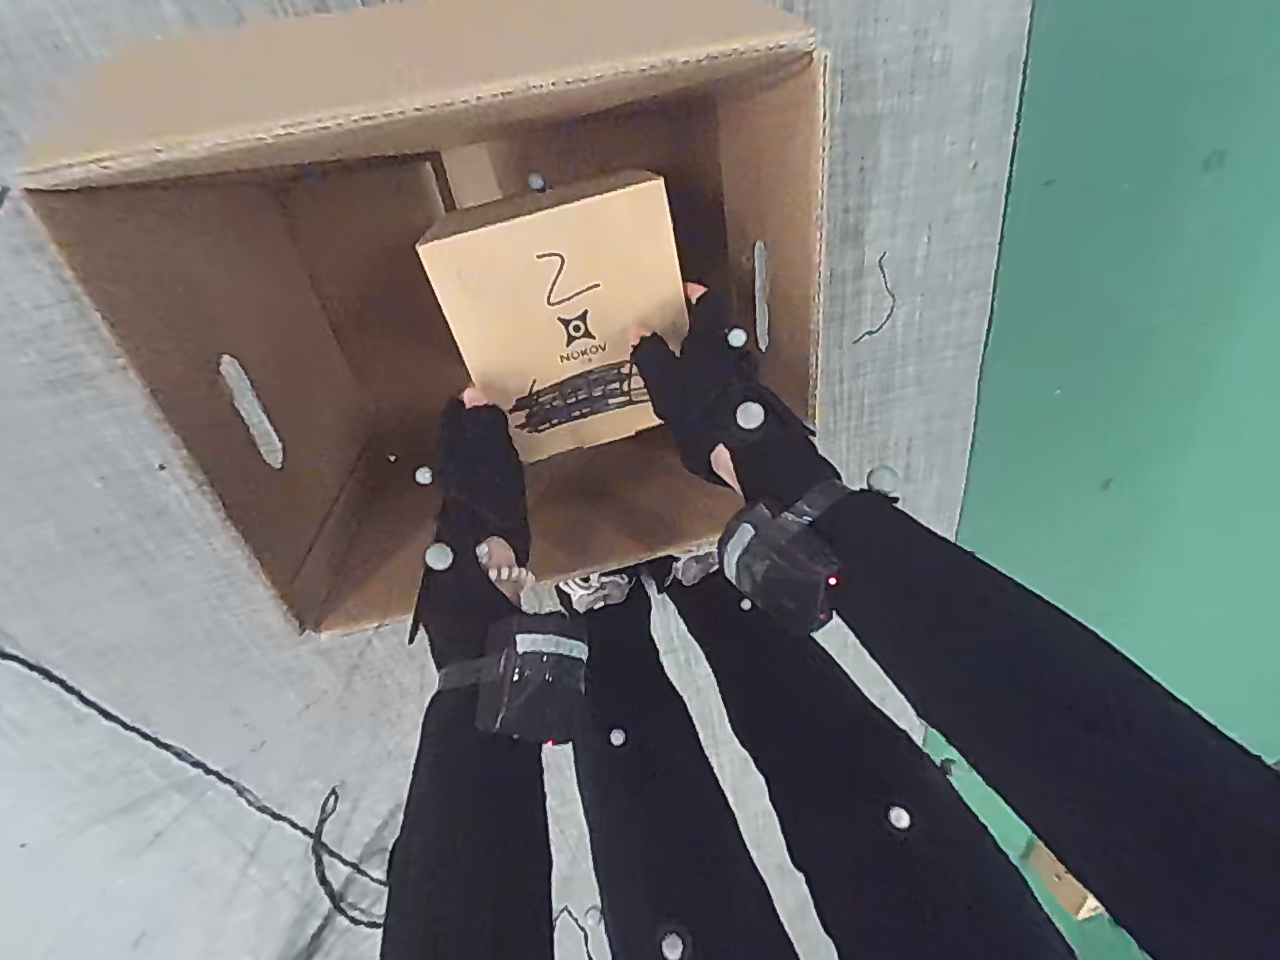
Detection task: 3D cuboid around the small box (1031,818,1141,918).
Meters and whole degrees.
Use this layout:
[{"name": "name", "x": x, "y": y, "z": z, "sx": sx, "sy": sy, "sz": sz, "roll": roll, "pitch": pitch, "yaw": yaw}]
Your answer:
[{"name": "small box", "x": 1.309, "y": 1.146, "z": 1.603, "sx": 0.168, "sy": 0.176, "sz": 0.179, "roll": -14, "pitch": 121, "yaw": -6}]
